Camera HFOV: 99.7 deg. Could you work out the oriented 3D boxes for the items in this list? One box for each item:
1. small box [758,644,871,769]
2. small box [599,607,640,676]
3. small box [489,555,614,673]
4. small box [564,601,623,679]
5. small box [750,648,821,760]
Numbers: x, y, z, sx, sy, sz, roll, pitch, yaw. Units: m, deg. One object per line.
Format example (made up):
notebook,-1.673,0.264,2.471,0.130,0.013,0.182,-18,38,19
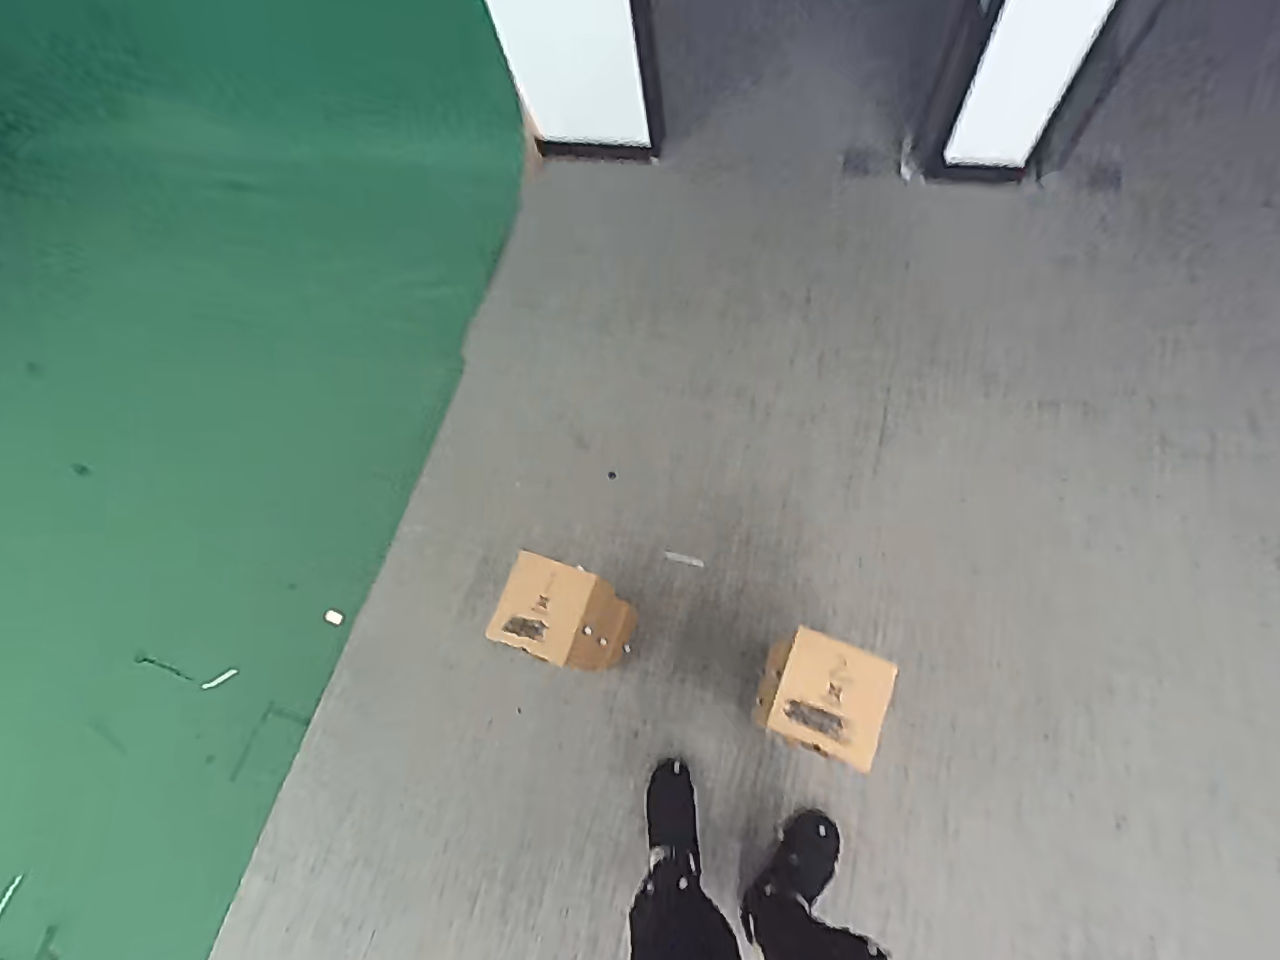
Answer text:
small box,0.344,0.452,1.097,0.168,0.176,0.179,19,74,15
small box,-0.118,0.390,1.377,0.179,0.176,0.168,18,74,15
small box,-0.165,0.272,1.074,0.168,0.176,0.179,16,73,15
small box,-0.150,0.334,1.226,0.168,0.176,0.179,17,74,16
small box,0.362,0.509,1.245,0.168,0.176,0.179,24,76,19
